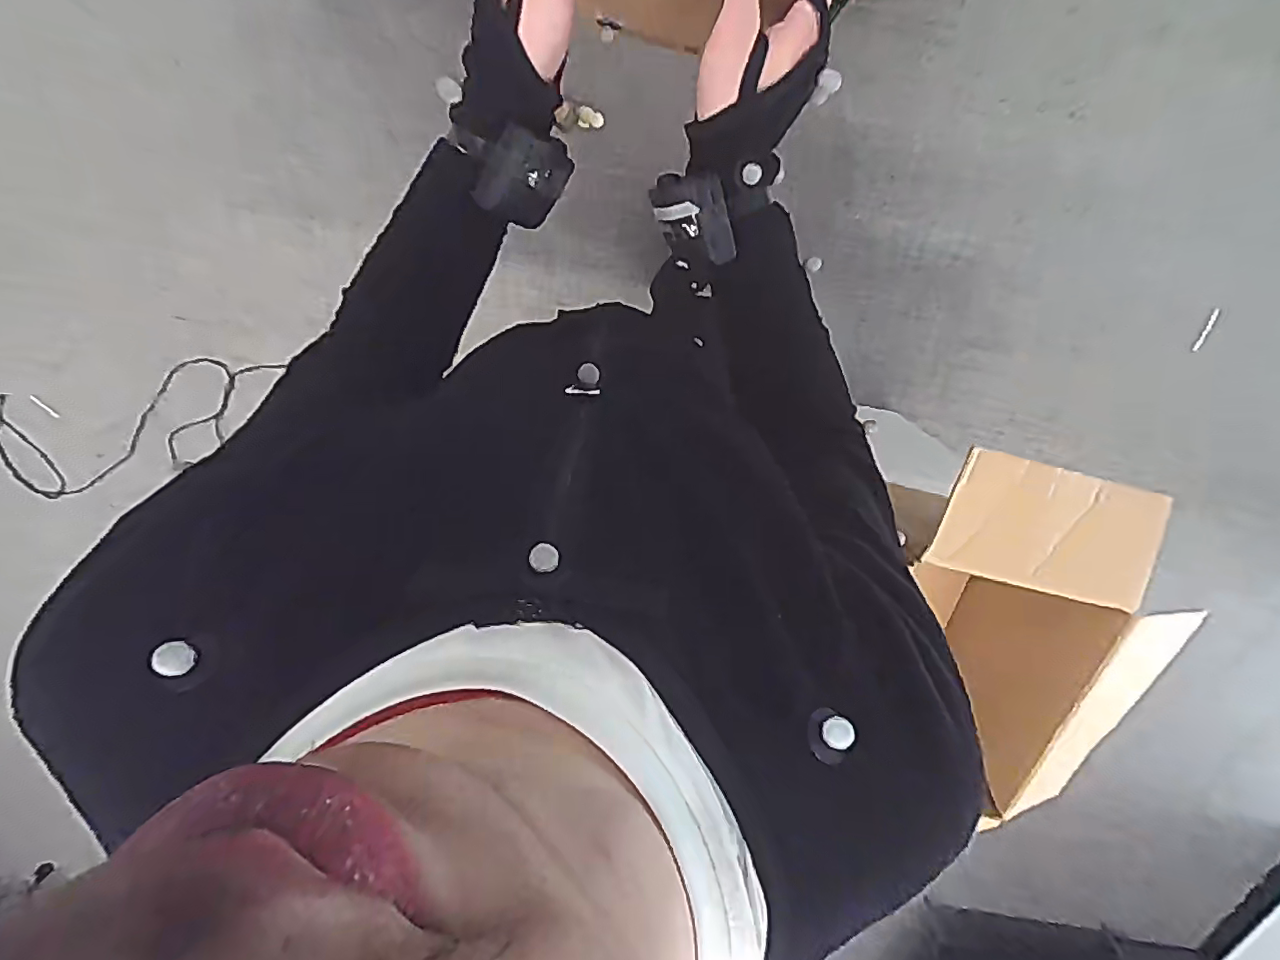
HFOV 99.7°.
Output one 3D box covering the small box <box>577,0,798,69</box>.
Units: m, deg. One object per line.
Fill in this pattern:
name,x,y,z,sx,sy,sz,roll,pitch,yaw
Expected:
small box,0.042,-0.422,0.370,0.168,0.176,0.179,11,112,-6
